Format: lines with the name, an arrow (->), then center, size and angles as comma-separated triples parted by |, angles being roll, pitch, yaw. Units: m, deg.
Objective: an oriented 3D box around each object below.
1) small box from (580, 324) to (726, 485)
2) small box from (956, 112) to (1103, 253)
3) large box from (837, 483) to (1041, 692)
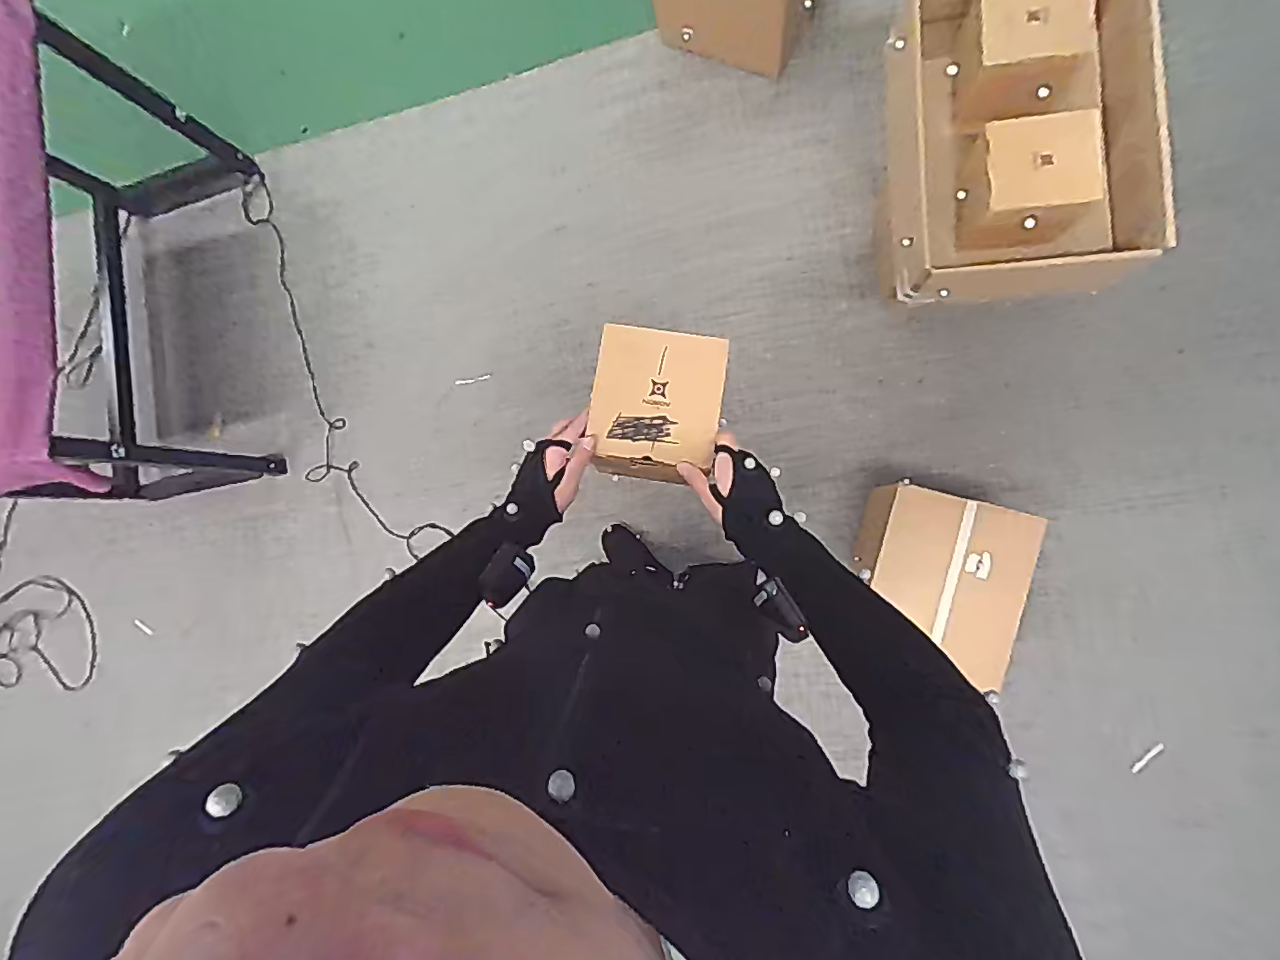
small box -> 0.021, -0.094, 0.758 | 0.168, 0.176, 0.179 | 8, 81, 3
small box -> 0.729, -0.553, 1.029 | 0.179, 0.176, 0.168 | -1, 87, 12
large box -> 0.711, 0.246, 1.347 | 0.320, 0.320, 0.408 | 15, 89, 11
